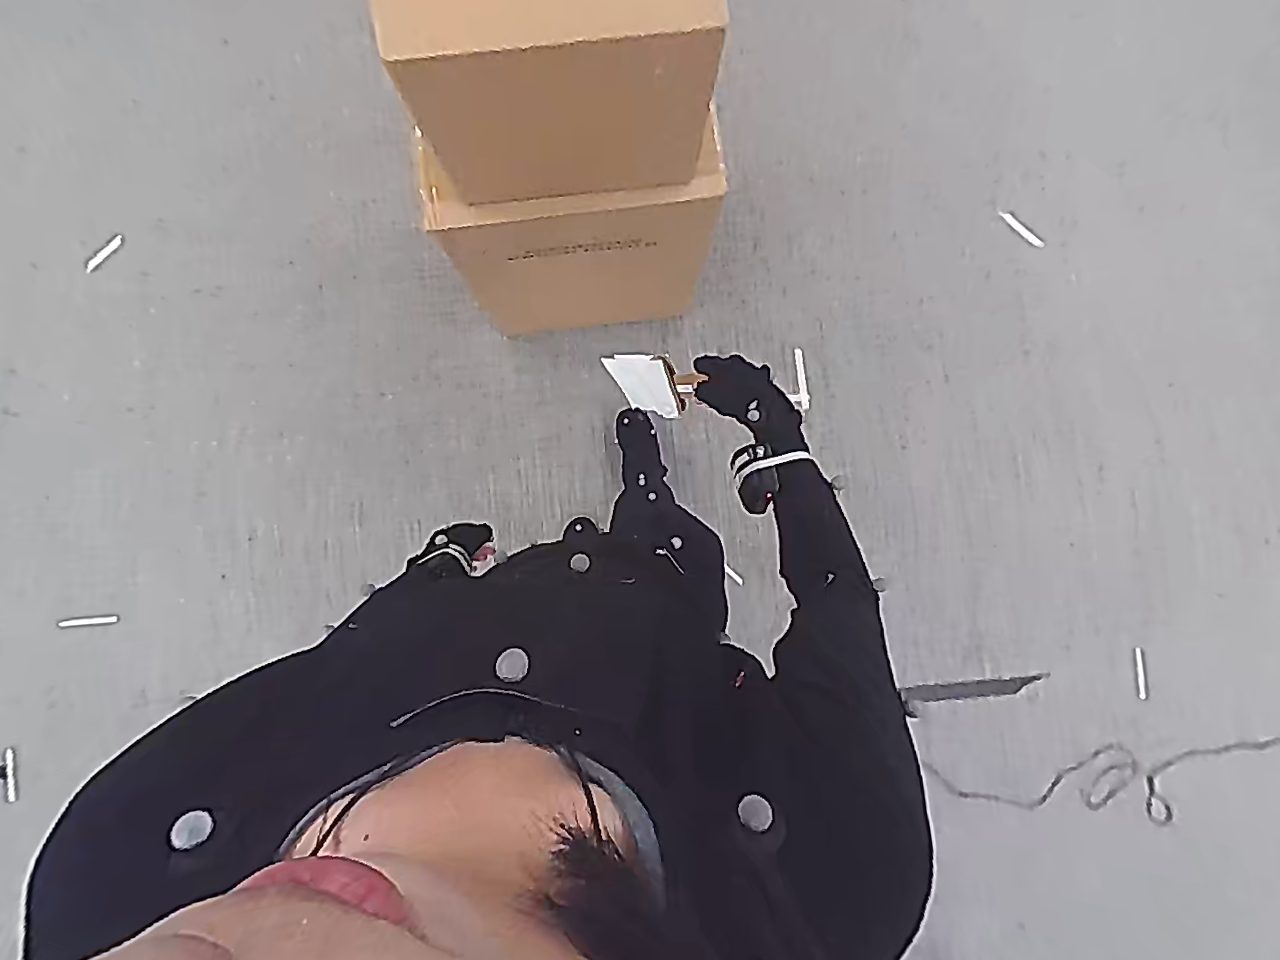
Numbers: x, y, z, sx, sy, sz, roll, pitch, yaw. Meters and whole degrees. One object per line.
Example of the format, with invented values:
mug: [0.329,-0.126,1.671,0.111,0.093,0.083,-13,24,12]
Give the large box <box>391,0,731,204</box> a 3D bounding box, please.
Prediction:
large box: [-0.114,-0.653,0.791,0.408,0.320,0.320,-7,89,-3]
